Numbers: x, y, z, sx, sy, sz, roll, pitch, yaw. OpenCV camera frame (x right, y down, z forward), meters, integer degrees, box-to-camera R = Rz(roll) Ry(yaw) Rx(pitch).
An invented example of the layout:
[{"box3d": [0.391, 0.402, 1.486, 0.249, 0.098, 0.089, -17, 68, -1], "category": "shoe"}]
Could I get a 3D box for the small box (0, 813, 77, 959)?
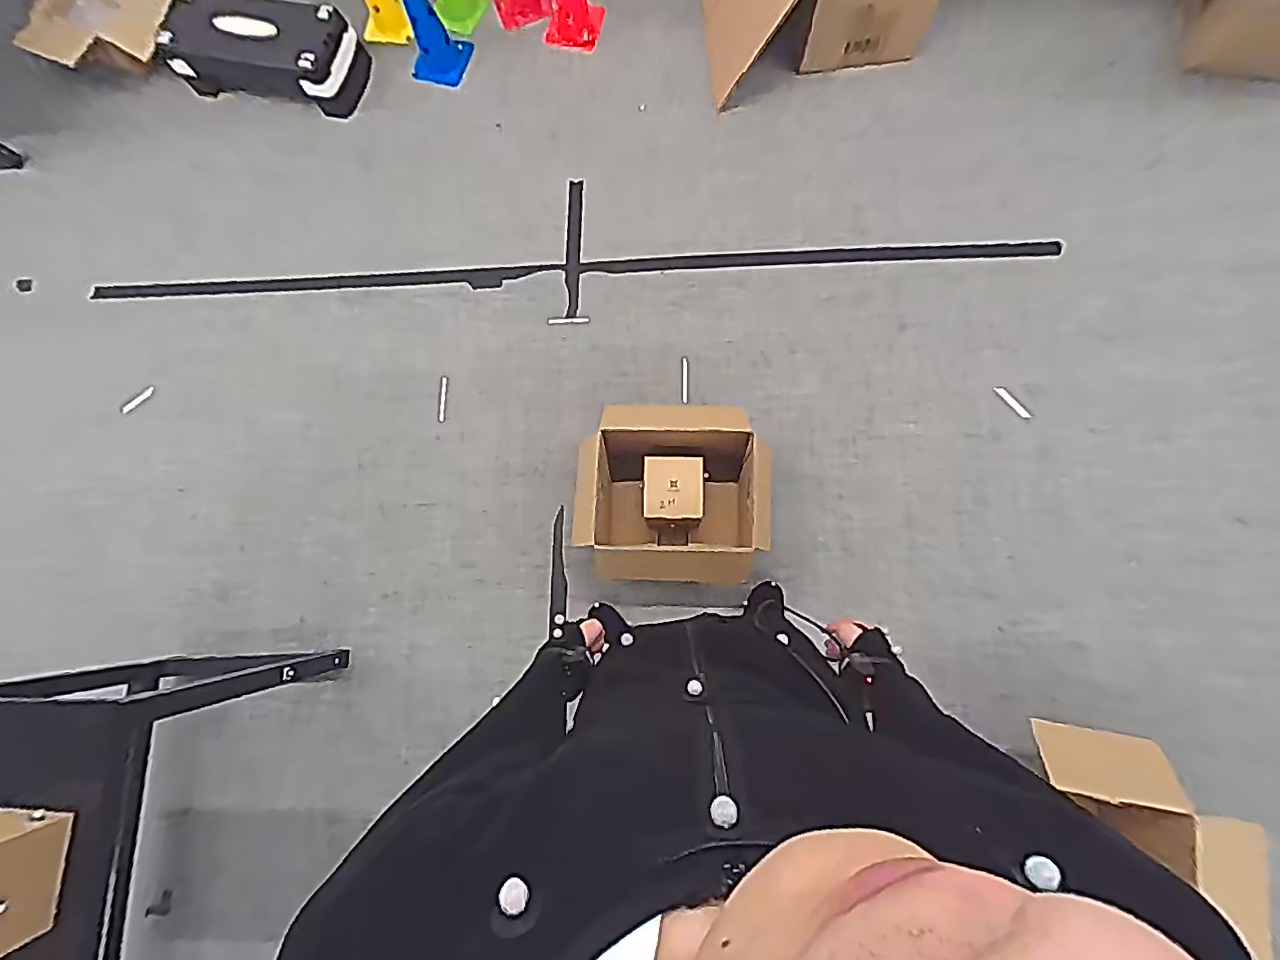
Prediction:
[{"box3d": [-1.032, 0.638, 0.826, 0.168, 0.176, 0.179, 1, 81, 5], "category": "small box"}]
